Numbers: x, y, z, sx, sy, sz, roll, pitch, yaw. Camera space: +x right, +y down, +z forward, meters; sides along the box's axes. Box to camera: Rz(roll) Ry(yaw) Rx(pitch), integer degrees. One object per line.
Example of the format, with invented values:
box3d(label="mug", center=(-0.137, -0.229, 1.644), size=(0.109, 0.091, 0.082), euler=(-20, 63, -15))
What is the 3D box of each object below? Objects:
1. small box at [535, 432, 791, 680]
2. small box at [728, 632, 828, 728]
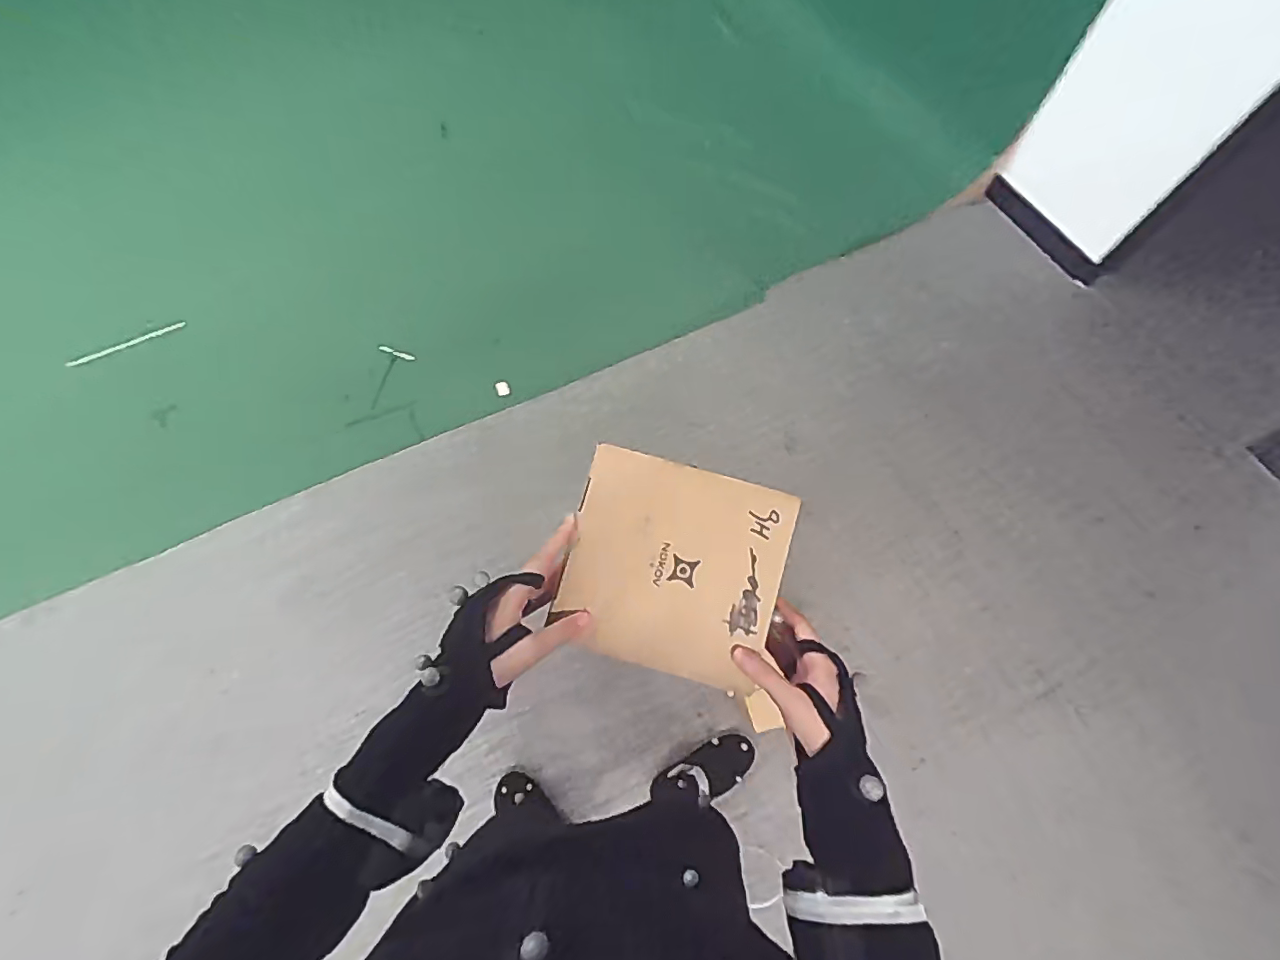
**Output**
box3d(label="small box", center=(0.022, 0.067, 0.520), size=(0.179, 0.176, 0.168), euler=(16, 85, 3))
box3d(label="small box", center=(0.306, 0.466, 1.263), size=(0.179, 0.176, 0.168), euler=(-16, 68, -4))
